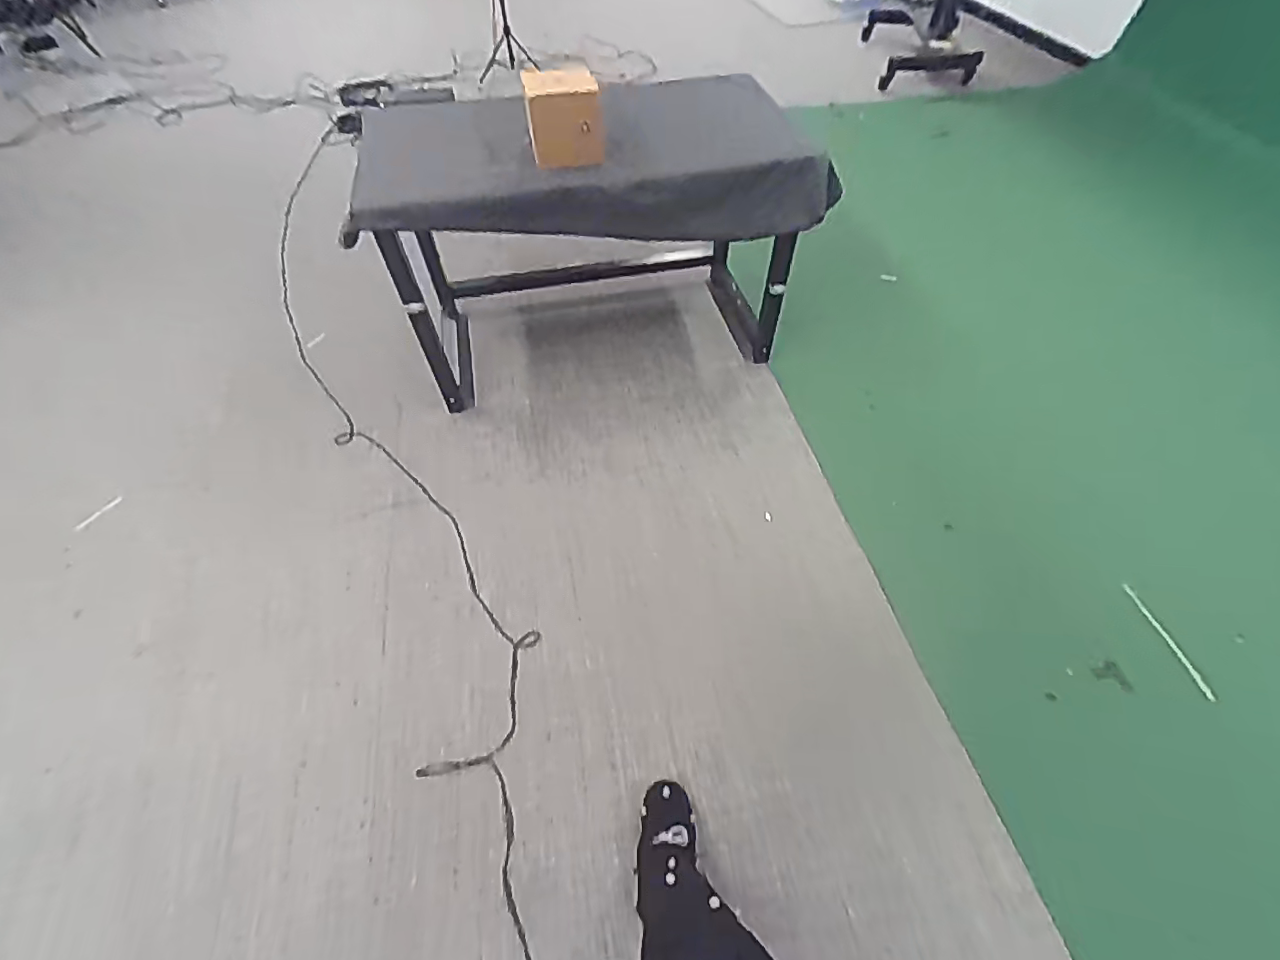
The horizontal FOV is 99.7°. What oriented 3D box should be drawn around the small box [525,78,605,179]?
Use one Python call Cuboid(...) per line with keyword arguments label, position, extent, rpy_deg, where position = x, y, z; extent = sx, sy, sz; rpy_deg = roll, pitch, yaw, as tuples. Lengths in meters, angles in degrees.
Cuboid(label="small box", position=(-0.190, -0.906, 1.398), extent=(0.179, 0.176, 0.168), rpy_deg=(-12, 53, -7))
